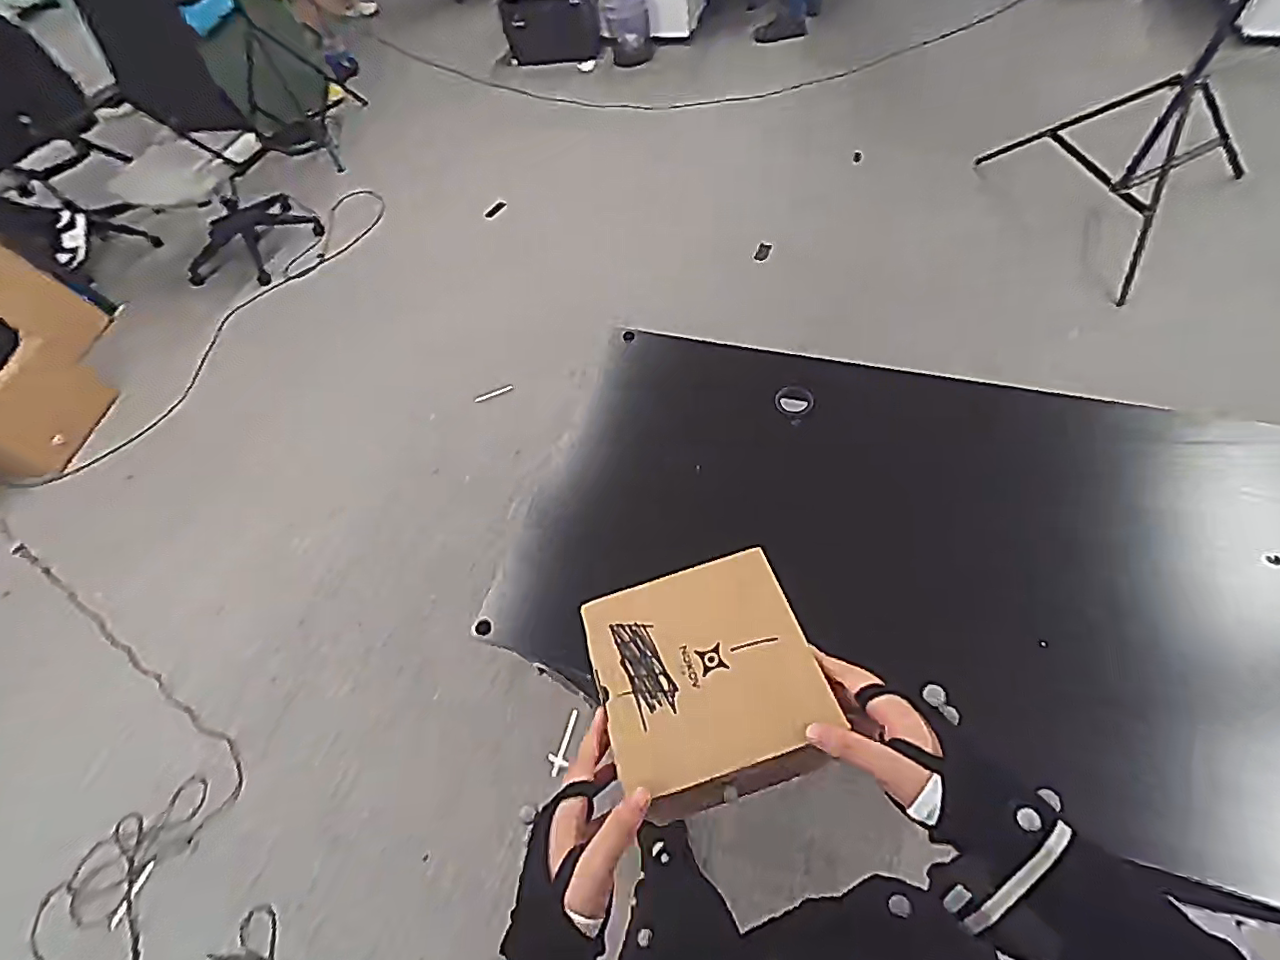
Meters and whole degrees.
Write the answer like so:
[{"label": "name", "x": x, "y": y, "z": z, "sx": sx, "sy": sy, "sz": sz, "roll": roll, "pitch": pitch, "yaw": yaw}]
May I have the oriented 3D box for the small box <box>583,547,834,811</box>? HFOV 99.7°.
[{"label": "small box", "x": 0.061, "y": 0.196, "z": 0.518, "sx": 0.179, "sy": 0.176, "sz": 0.168, "roll": -17, "pitch": 52, "yaw": -2}]
